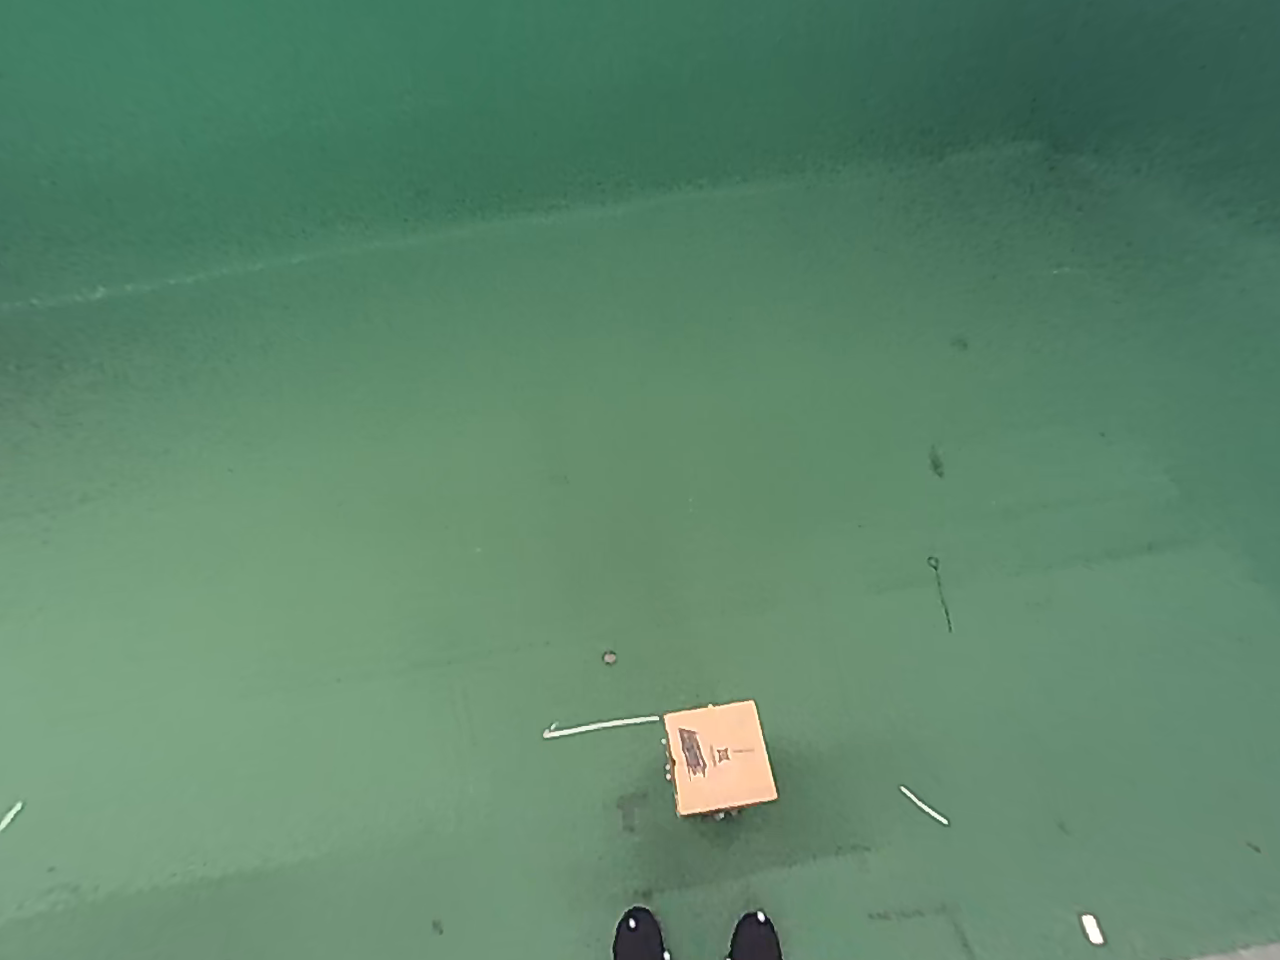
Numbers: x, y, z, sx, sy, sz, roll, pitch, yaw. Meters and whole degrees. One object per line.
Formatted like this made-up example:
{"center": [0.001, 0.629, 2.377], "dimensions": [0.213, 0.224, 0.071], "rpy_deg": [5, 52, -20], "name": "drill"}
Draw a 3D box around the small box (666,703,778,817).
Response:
{"center": [0.150, 0.542, 1.039], "dimensions": [0.179, 0.176, 0.168], "rpy_deg": [-8, 58, -2], "name": "small box"}
